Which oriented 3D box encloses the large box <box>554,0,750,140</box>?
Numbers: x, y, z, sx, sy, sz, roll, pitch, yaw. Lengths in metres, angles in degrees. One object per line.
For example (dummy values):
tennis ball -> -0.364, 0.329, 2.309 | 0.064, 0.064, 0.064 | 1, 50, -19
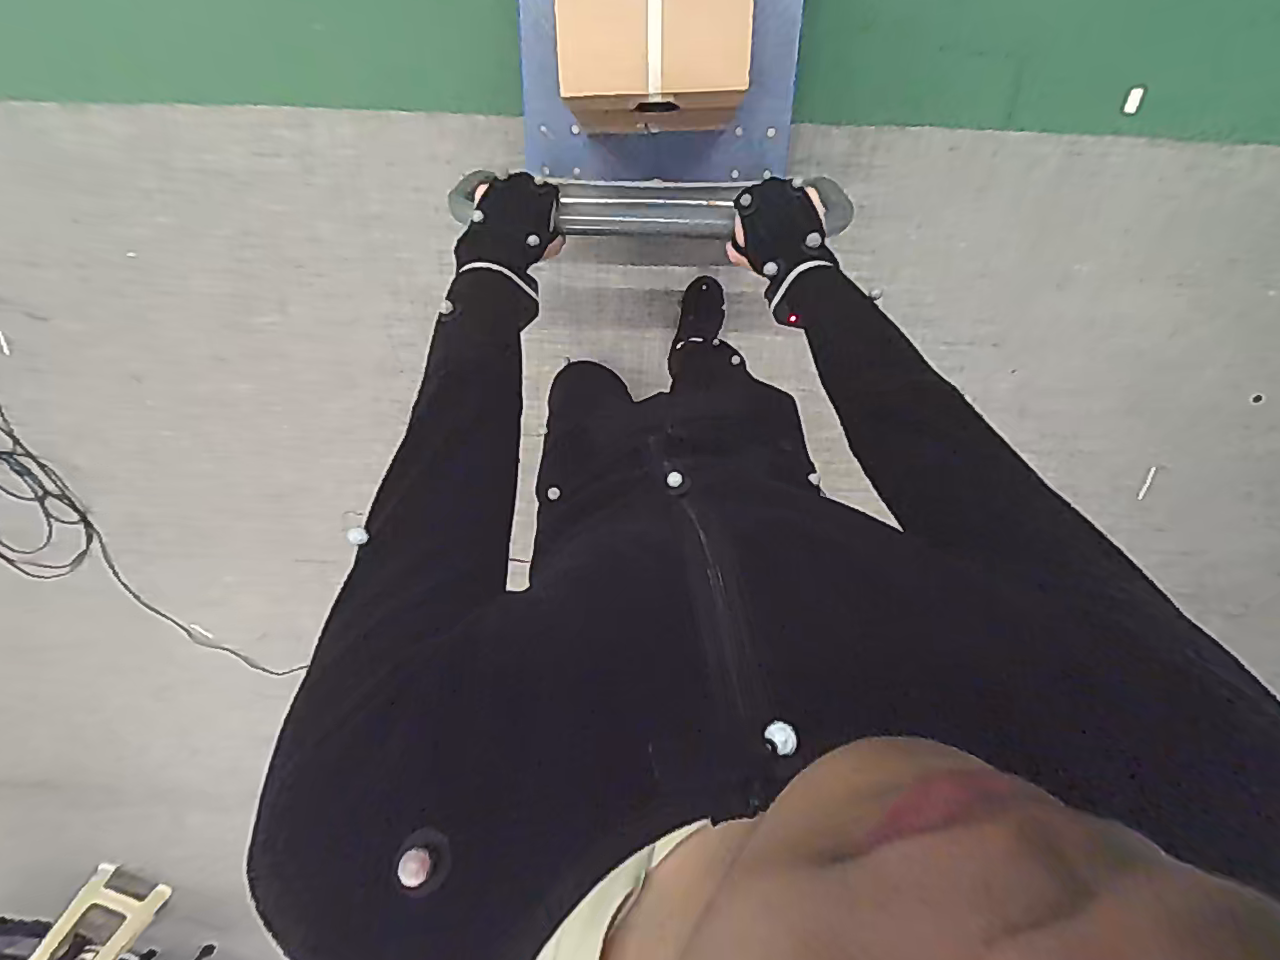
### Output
large box -> 0.025, -0.871, 0.962 | 0.320, 0.320, 0.408 | 0, 113, 3
